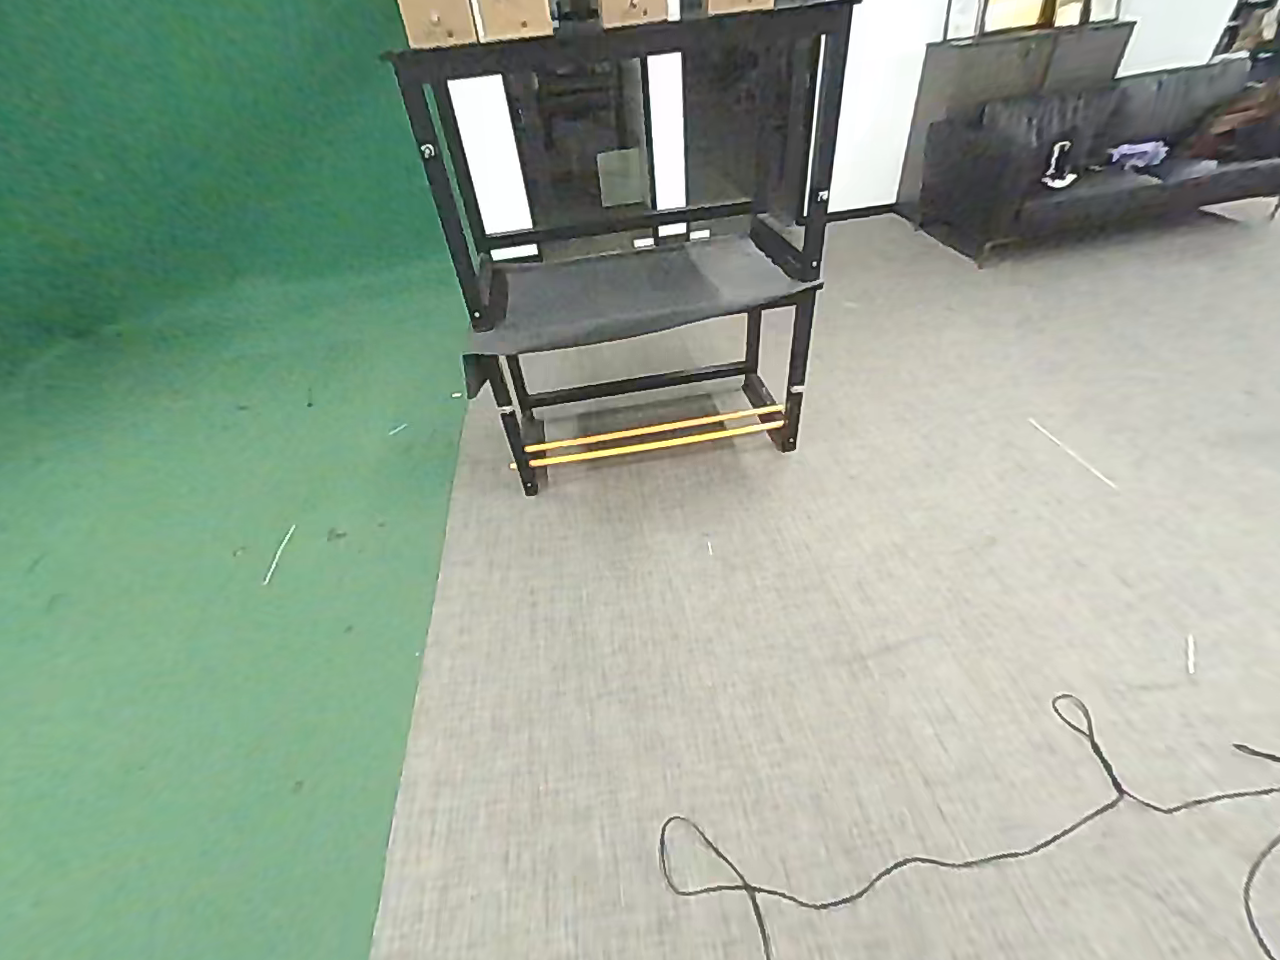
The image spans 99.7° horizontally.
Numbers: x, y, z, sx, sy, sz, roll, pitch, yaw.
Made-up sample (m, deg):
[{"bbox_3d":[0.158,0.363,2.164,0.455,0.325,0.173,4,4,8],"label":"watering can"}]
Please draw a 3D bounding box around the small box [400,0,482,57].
[{"bbox_3d":[-0.510,-1.194,1.380,0.168,0.176,0.179,-10,42,-5],"label":"small box"}]

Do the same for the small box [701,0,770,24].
[{"bbox_3d":[0.246,-1.303,1.401,0.168,0.176,0.179,-4,41,3],"label":"small box"}]
